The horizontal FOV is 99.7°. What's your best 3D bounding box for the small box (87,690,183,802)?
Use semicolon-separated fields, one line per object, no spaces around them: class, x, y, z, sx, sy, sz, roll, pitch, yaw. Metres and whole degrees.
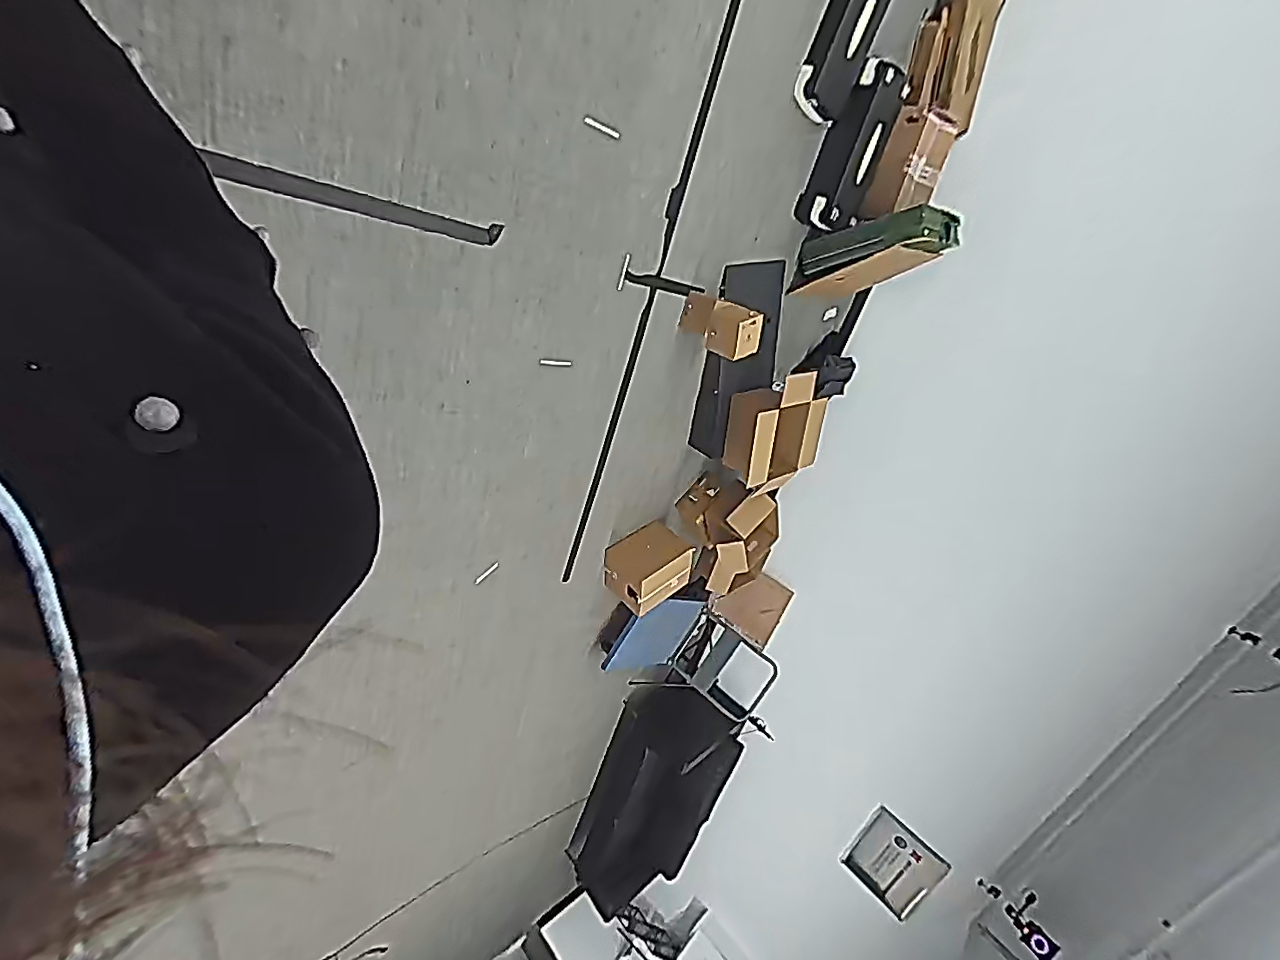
small box;-1.359;0.709;1.458;0.168;0.176;0.179;-12;127;-47

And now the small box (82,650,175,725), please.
small box;-1.467;0.626;1.551;0.179;0.176;0.168;-12;128;-47
